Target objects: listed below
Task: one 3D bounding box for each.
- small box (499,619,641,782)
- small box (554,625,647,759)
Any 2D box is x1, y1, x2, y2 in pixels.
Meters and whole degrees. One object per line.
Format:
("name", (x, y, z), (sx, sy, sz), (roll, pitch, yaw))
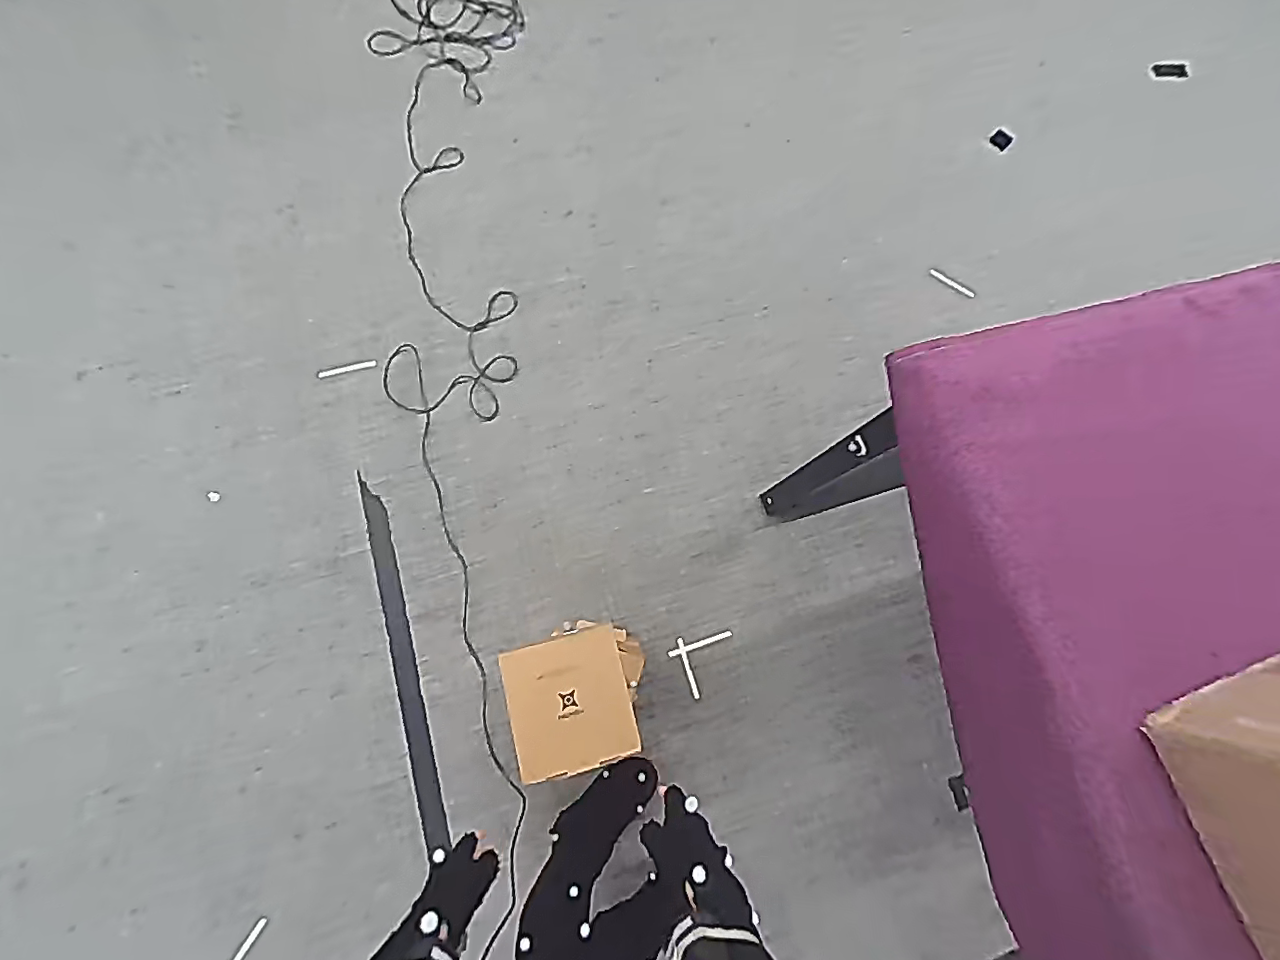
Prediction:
("small box", (-0.101, 0.315, 0.812), (0.168, 0.176, 0.179), (-14, 78, -8))
("small box", (-0.096, 0.366, 0.968), (0.168, 0.176, 0.179), (16, 76, 0))
